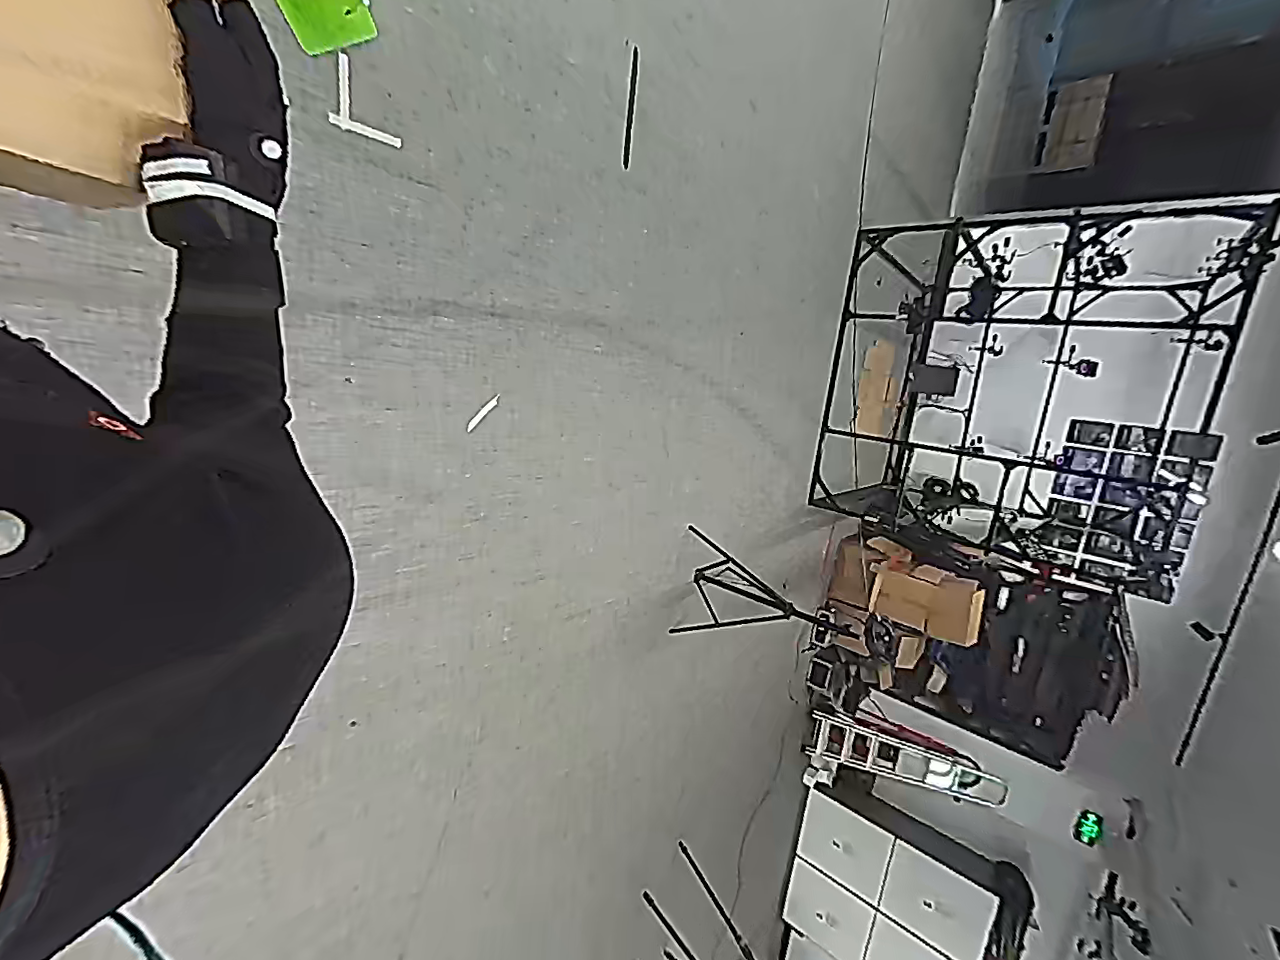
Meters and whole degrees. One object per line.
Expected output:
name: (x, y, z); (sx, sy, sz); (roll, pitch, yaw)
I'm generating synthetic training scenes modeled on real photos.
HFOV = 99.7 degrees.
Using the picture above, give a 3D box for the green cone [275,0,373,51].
green cone: (-0.581, -1.041, 1.084); (0.202, 0.368, 0.200); (-50, 138, -31)

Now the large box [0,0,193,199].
large box: (-0.561, -0.399, 0.314); (0.408, 0.320, 0.320); (-4, 109, -55)
